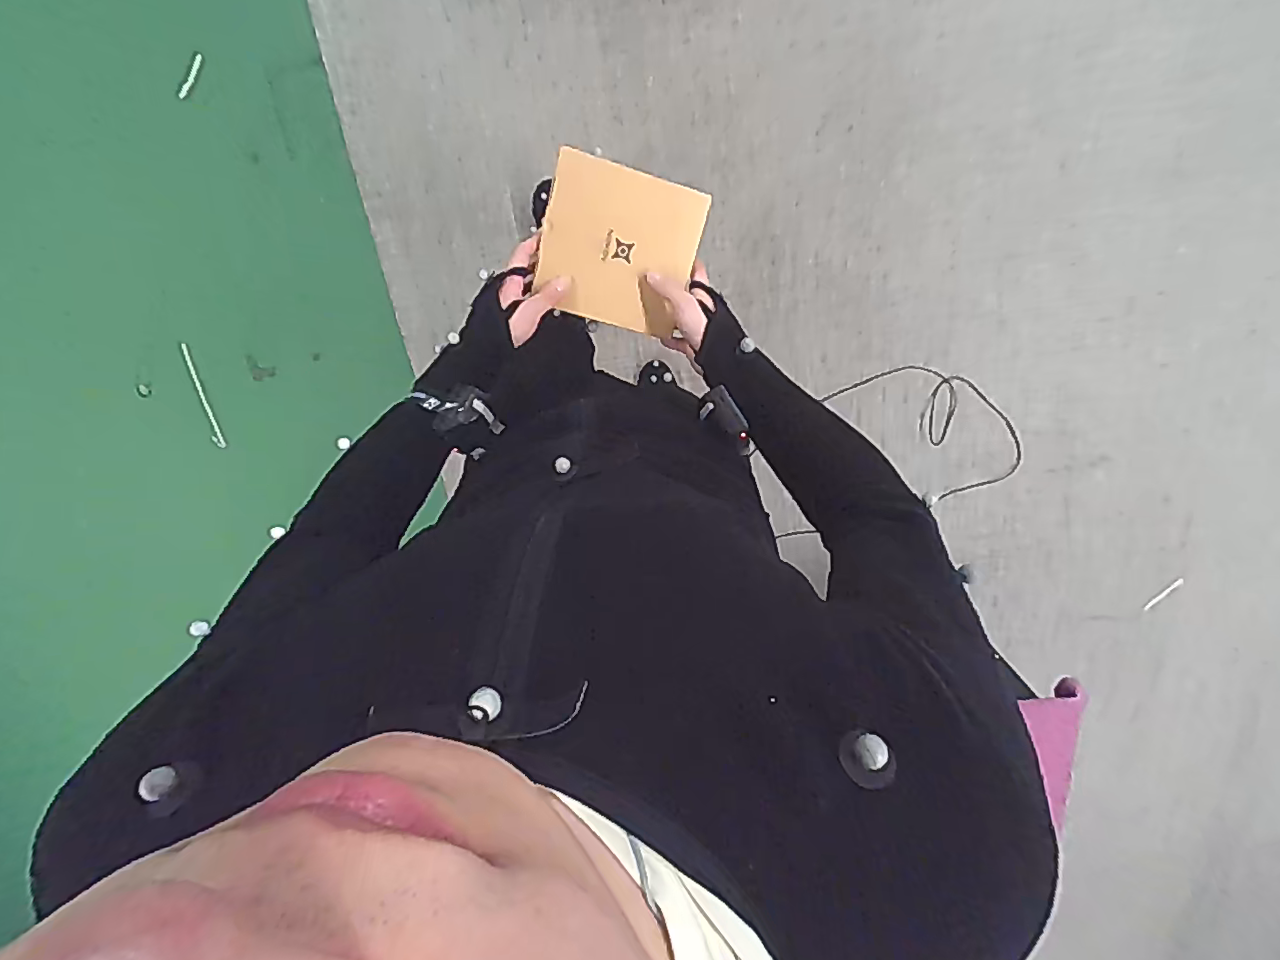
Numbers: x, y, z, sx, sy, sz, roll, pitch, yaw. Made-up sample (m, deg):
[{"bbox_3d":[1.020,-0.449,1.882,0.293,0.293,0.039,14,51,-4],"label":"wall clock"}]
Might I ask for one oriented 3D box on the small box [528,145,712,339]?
[{"bbox_3d":[-0.031,-0.289,0.679,0.179,0.176,0.168,13,109,-10],"label":"small box"}]
